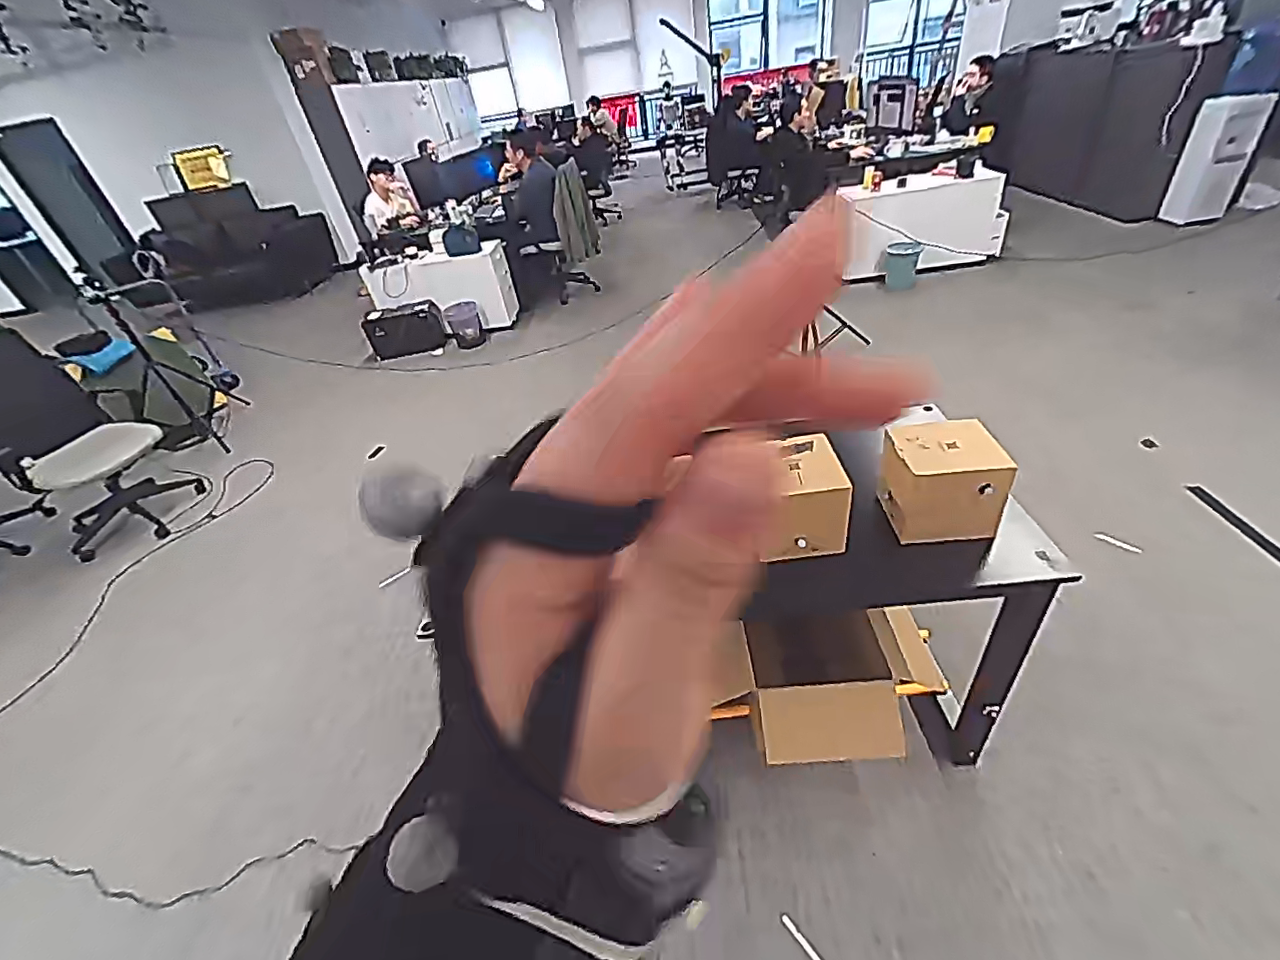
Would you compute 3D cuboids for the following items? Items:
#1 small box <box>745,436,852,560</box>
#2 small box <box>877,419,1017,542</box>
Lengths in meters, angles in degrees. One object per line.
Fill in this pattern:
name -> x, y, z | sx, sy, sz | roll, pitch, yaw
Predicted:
small box -> 0.303, 0.035, 1.075 | 0.168, 0.176, 0.179 | -7, 37, 4
small box -> 0.580, 0.002, 1.049 | 0.179, 0.176, 0.168 | -5, 36, 7
